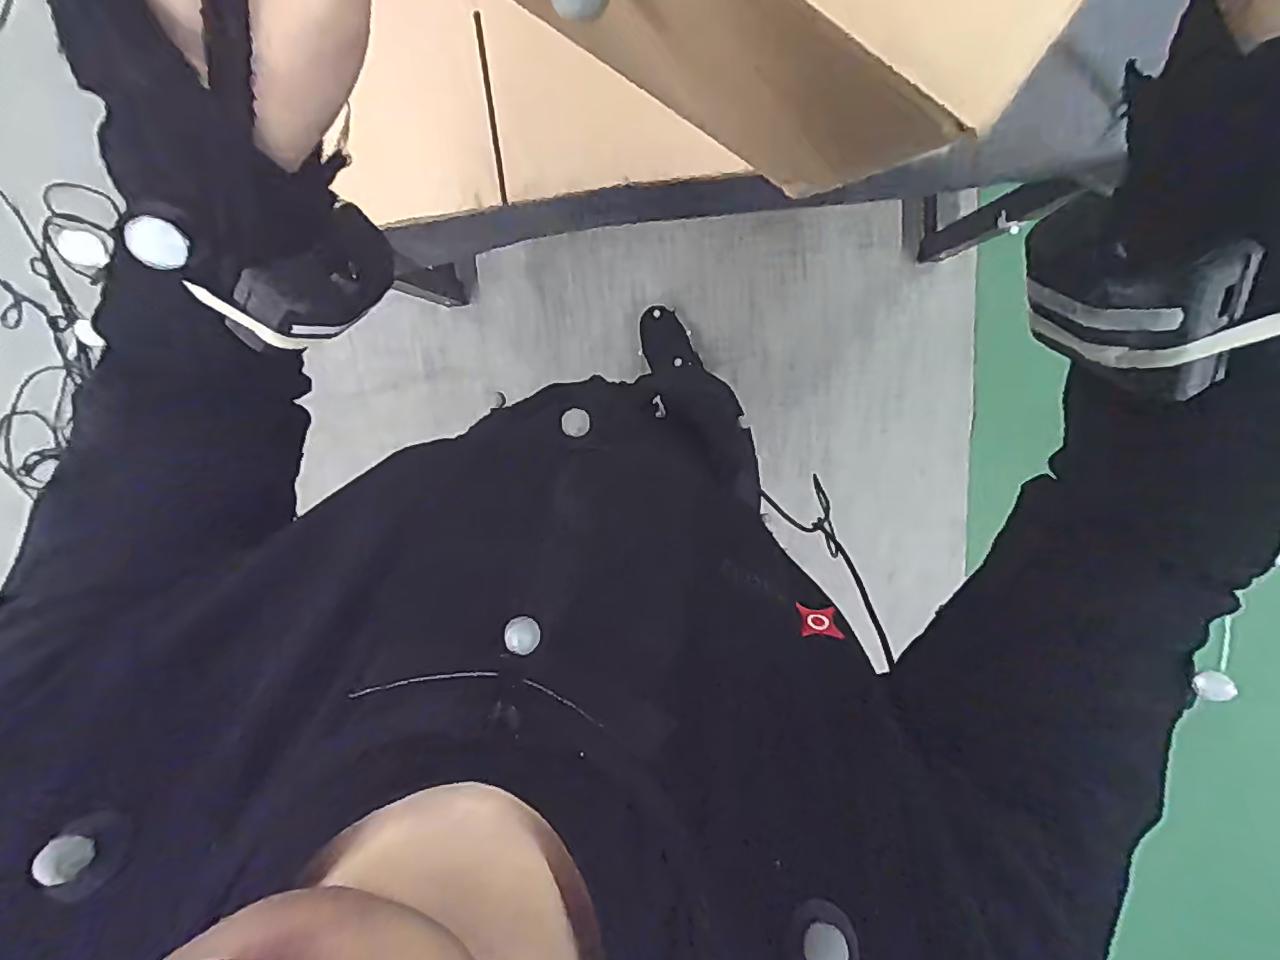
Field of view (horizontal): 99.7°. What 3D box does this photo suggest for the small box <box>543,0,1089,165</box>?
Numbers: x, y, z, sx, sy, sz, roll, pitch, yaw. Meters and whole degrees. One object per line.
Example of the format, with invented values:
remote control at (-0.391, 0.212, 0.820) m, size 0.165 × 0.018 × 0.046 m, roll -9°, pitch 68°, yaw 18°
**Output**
small box at (0.045, -0.211, 0.142) m, size 0.179 × 0.176 × 0.168 m, roll 29°, pitch 113°, yaw -9°
